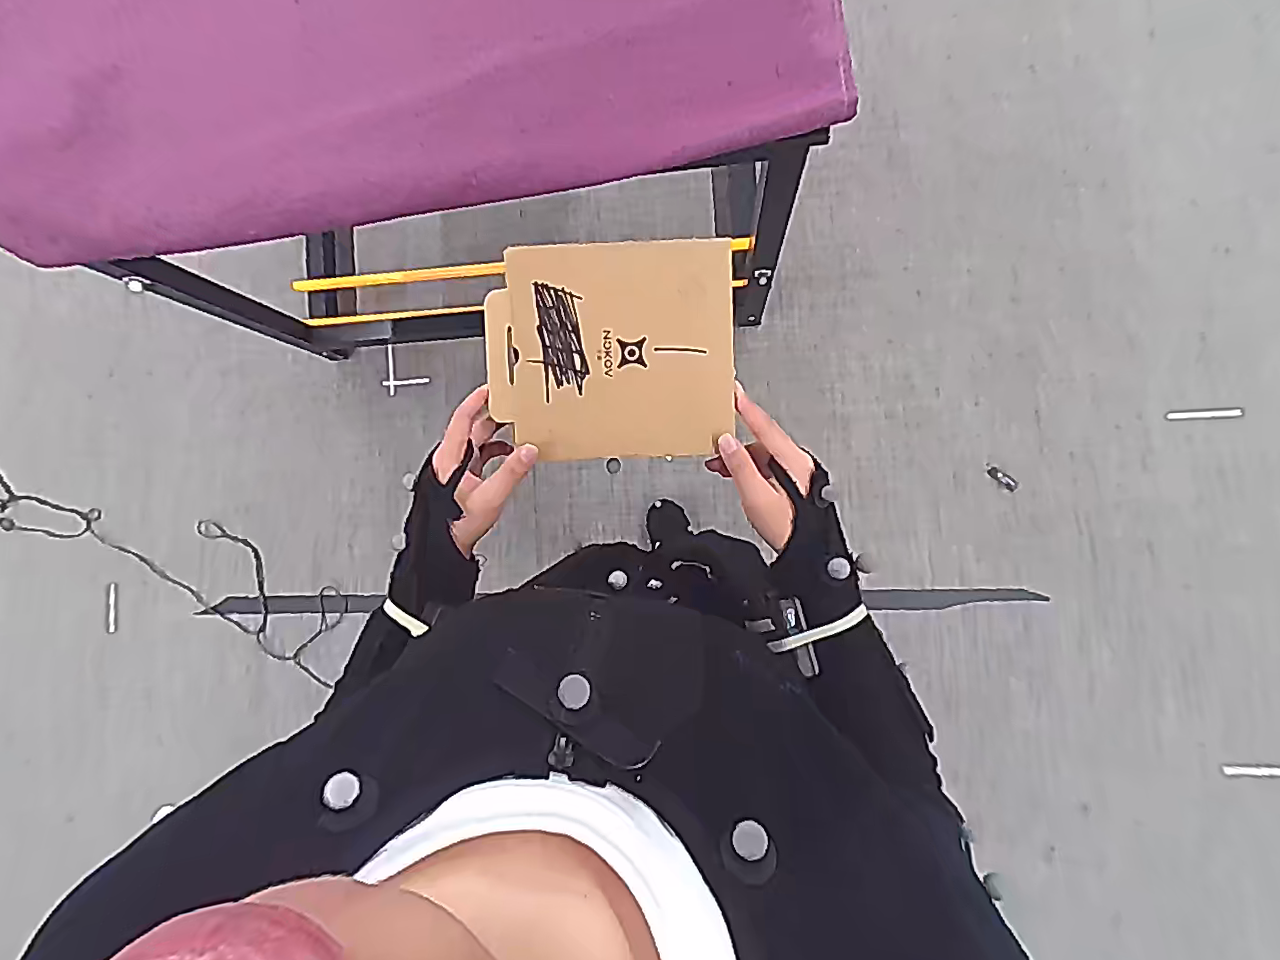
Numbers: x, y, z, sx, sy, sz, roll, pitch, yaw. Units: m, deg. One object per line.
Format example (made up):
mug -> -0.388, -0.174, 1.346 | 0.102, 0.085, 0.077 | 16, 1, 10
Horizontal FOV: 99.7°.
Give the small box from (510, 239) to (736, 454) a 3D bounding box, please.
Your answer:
small box -> -0.011, -0.107, 0.499 | 0.179, 0.176, 0.168 | -2, 95, 1
